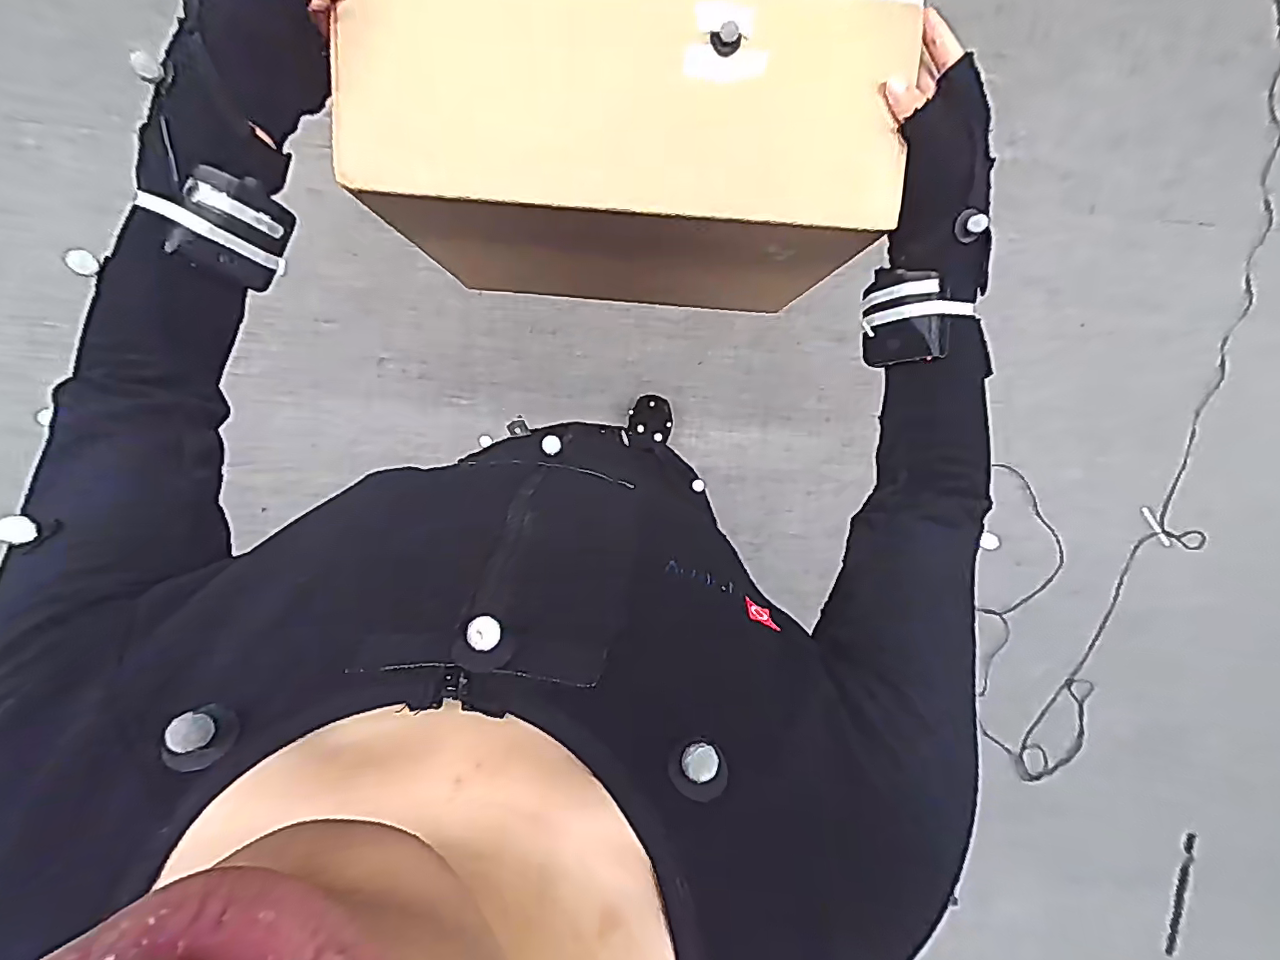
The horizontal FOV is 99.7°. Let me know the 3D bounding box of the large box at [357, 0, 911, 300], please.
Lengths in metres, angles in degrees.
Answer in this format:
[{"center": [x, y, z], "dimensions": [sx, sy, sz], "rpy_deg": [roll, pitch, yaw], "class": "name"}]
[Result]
[{"center": [-0.006, -0.377, 0.533], "dimensions": [0.408, 0.320, 0.320], "rpy_deg": [3, 97, -2], "class": "large box"}]
